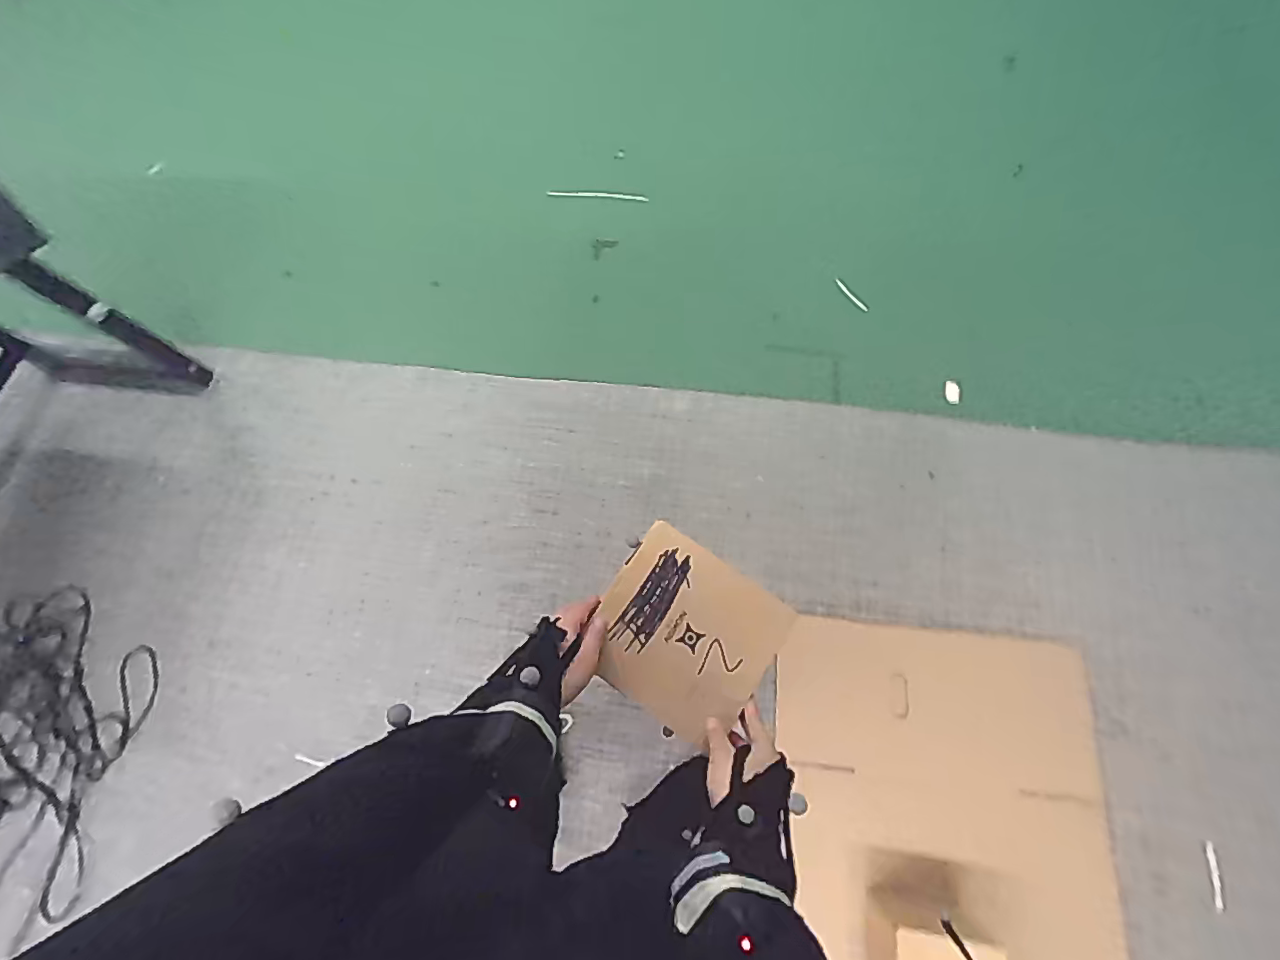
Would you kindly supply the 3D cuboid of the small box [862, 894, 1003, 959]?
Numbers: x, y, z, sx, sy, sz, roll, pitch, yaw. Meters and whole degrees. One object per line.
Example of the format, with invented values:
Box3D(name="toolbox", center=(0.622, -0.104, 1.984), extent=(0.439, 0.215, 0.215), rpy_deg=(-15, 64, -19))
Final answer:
Box3D(name="small box", center=(0.472, 0.822, 0.888), extent=(0.168, 0.176, 0.179), rpy_deg=(6, 71, 8))
